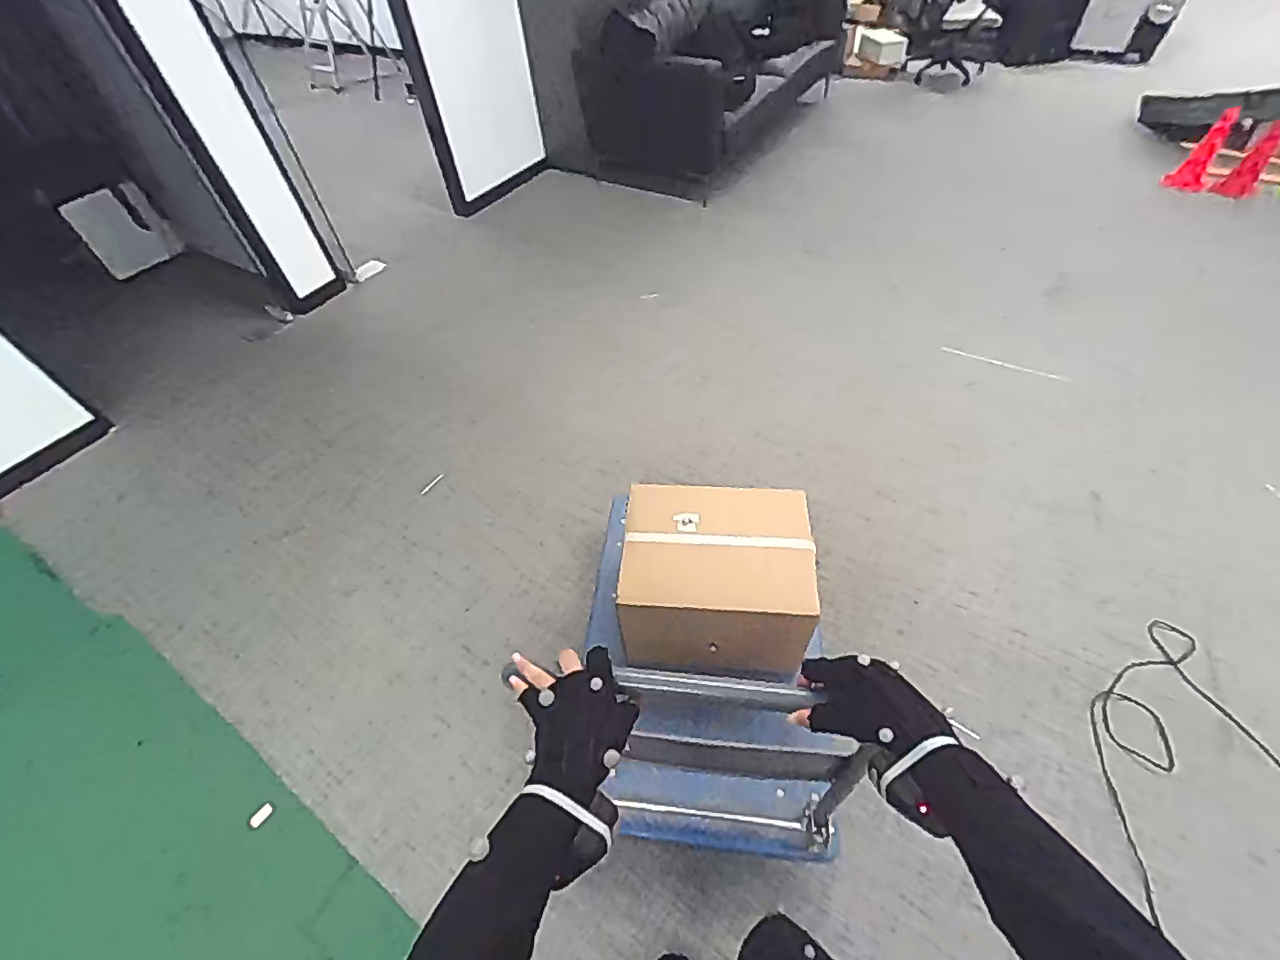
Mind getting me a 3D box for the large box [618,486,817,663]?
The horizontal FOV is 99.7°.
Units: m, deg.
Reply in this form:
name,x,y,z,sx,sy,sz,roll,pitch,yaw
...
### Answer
name,x,y,z,sx,sy,sz,roll,pitch,yaw
large box,0.175,0.228,1.286,0.408,0.320,0.320,1,50,6
